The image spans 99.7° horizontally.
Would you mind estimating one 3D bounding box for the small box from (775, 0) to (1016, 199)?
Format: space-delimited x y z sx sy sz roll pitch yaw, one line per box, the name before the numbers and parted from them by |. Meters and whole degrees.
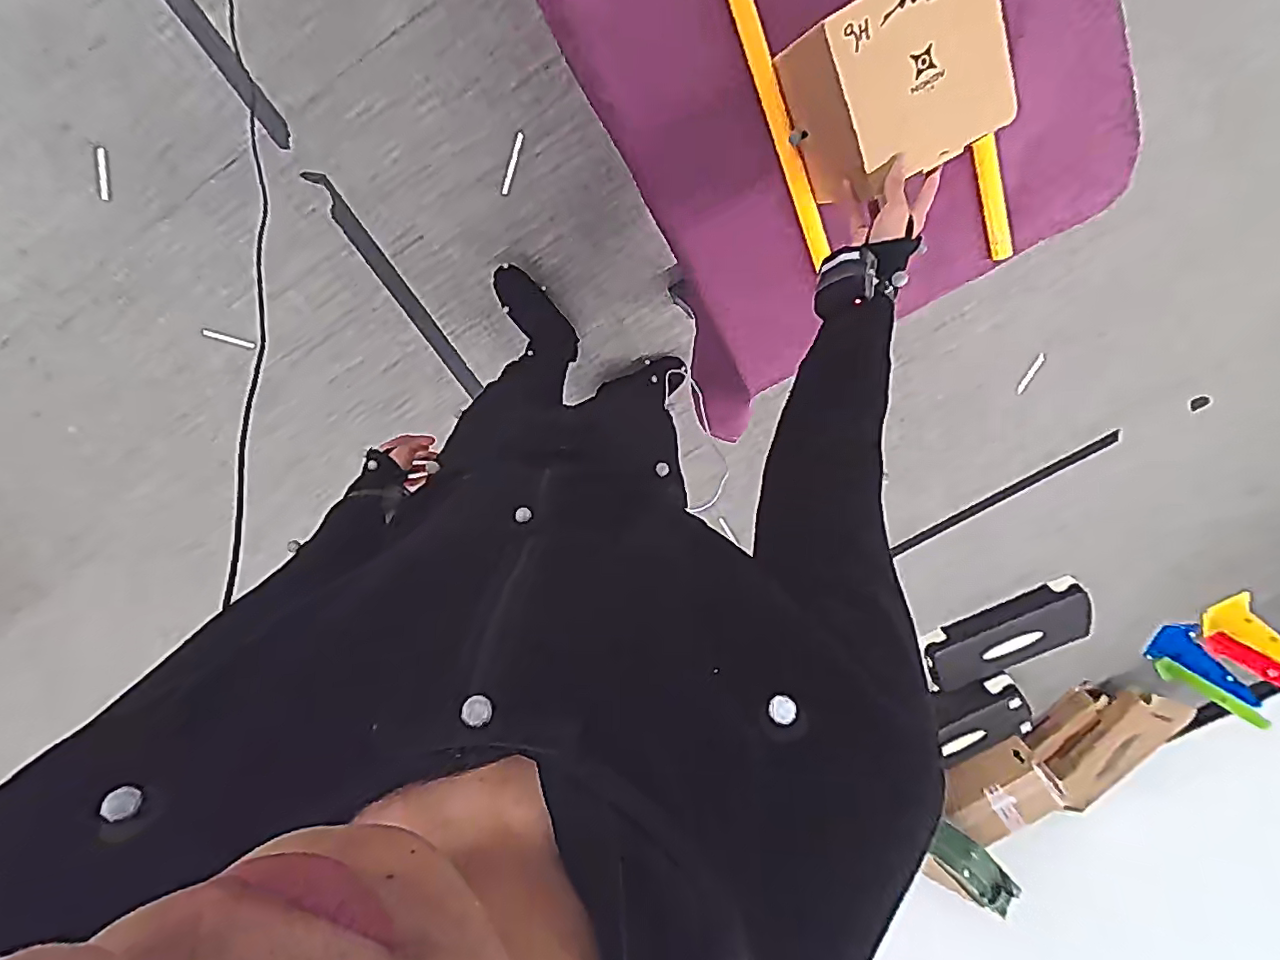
small box | 0.277 -0.445 0.610 0.168 0.176 0.179 -28 117 7
